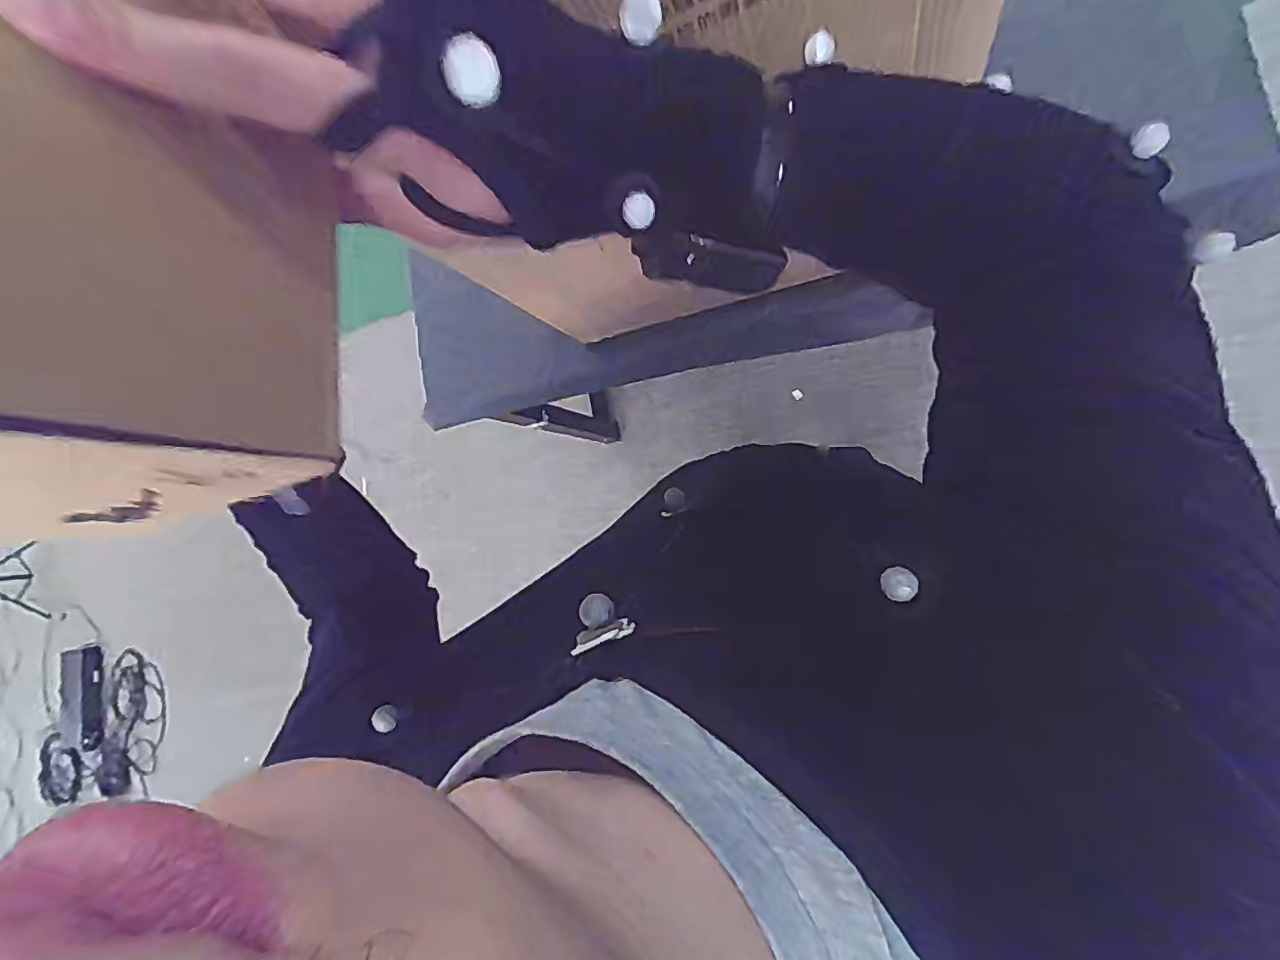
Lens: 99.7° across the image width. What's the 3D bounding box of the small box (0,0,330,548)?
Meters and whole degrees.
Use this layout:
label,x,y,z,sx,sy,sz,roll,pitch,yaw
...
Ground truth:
label,x,y,z,sx,sy,sz,roll,pitch,yaw
small box,-0.210,-0.081,0.134,0.168,0.179,0.176,-13,77,27
